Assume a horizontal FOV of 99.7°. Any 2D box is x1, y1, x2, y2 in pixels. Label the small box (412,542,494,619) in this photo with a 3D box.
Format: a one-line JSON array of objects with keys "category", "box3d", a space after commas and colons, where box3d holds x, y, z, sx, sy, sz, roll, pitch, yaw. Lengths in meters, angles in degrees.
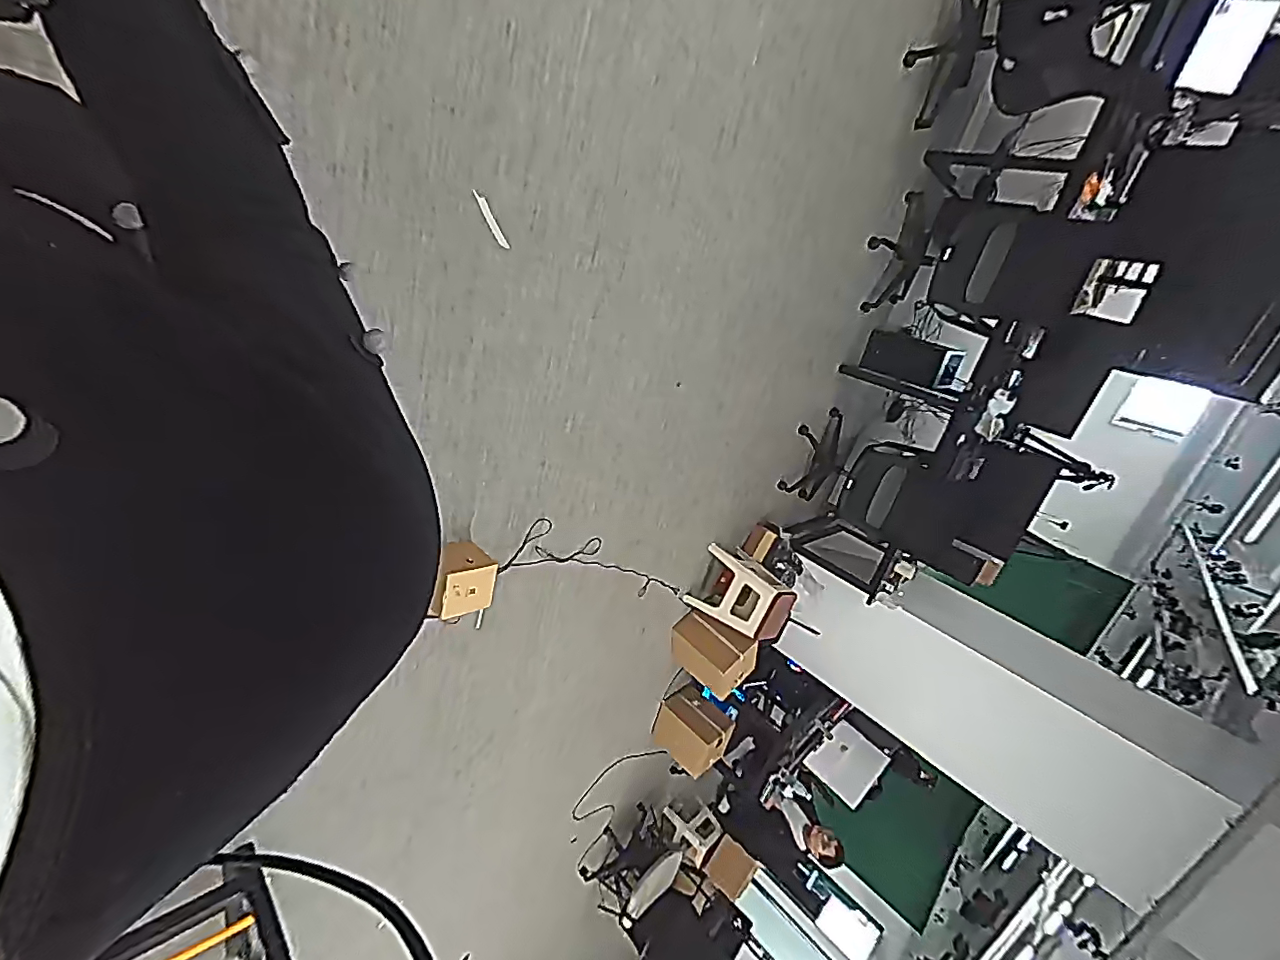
[{"category": "small box", "box3d": [-0.597, 0.312, 1.722, 0.179, 0.176, 0.168, -5, 116, -48]}]
